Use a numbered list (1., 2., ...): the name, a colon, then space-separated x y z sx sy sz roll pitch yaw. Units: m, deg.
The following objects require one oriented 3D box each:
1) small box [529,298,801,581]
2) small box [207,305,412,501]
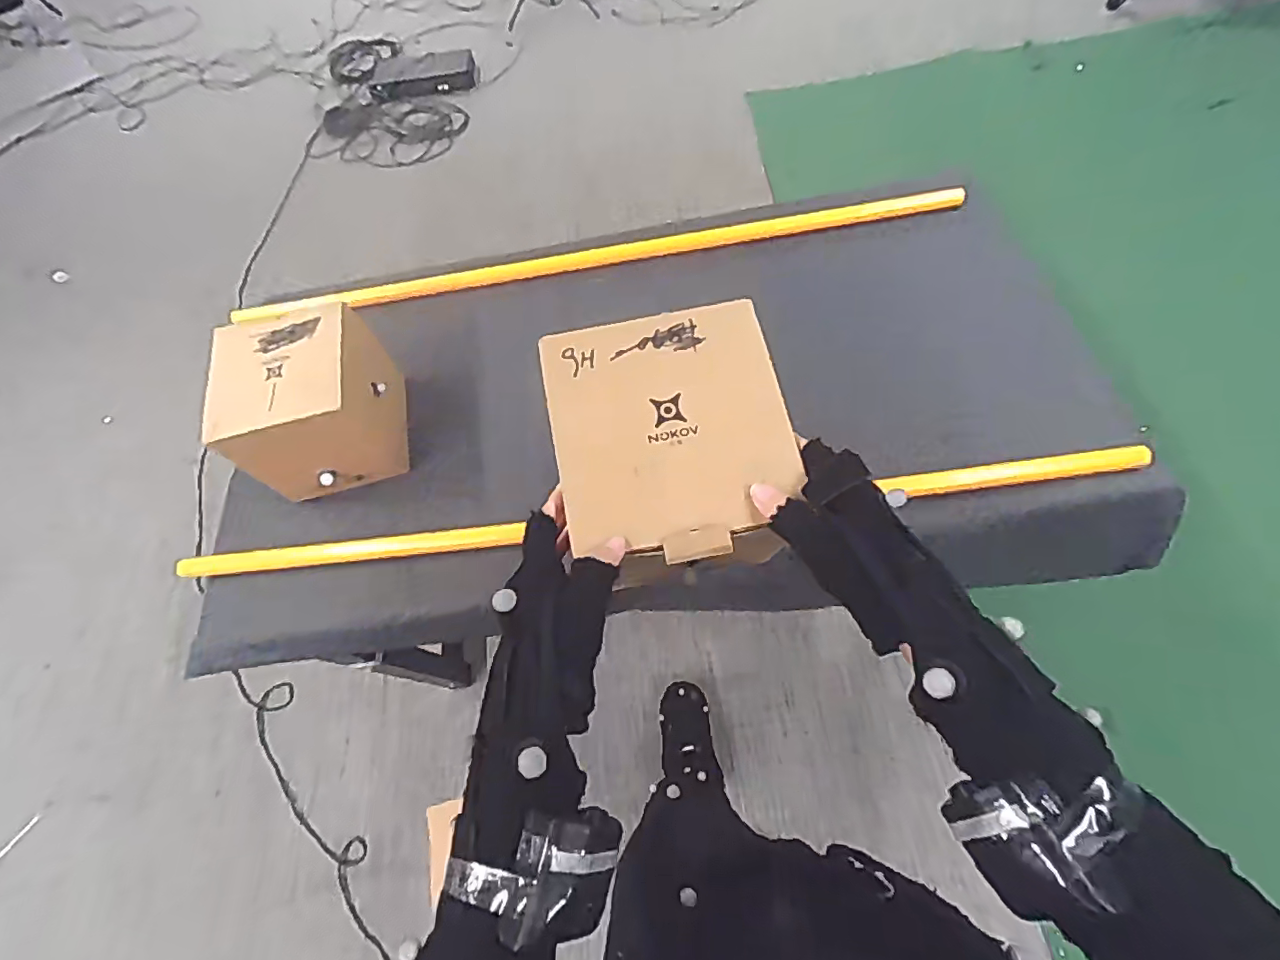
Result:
1. small box: 0.018 -0.017 0.463 0.168 0.176 0.179 -14 72 -1
2. small box: -0.423 -0.096 0.723 0.168 0.176 0.179 -15 64 -1
